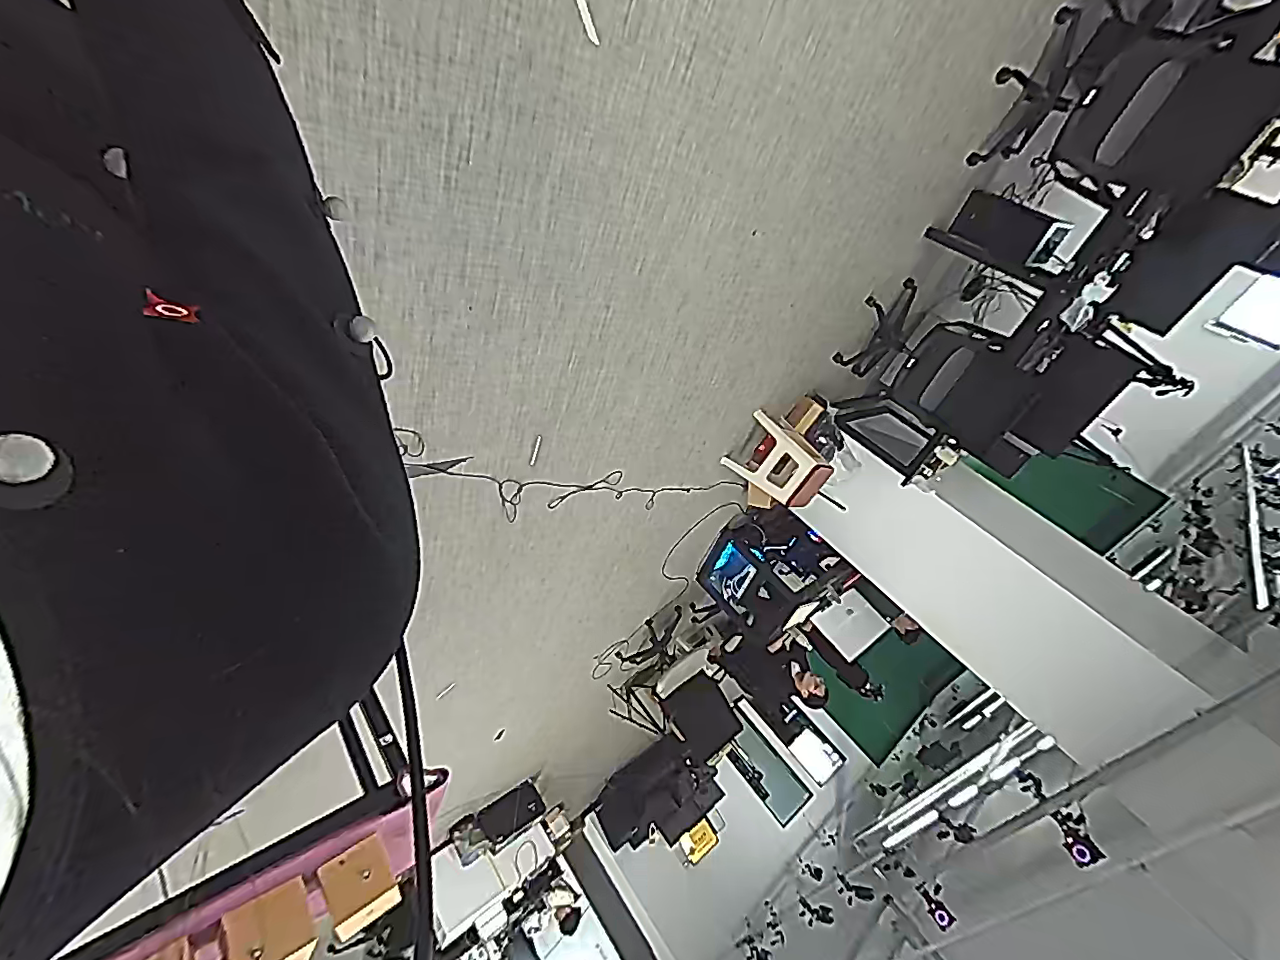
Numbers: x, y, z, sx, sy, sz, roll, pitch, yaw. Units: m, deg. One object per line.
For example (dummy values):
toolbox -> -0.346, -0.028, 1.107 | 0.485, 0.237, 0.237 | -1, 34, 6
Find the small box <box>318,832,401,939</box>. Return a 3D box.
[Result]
small box -> -0.815, 1.171, 1.572 | 0.168, 0.176, 0.179 | -21, 142, -36
